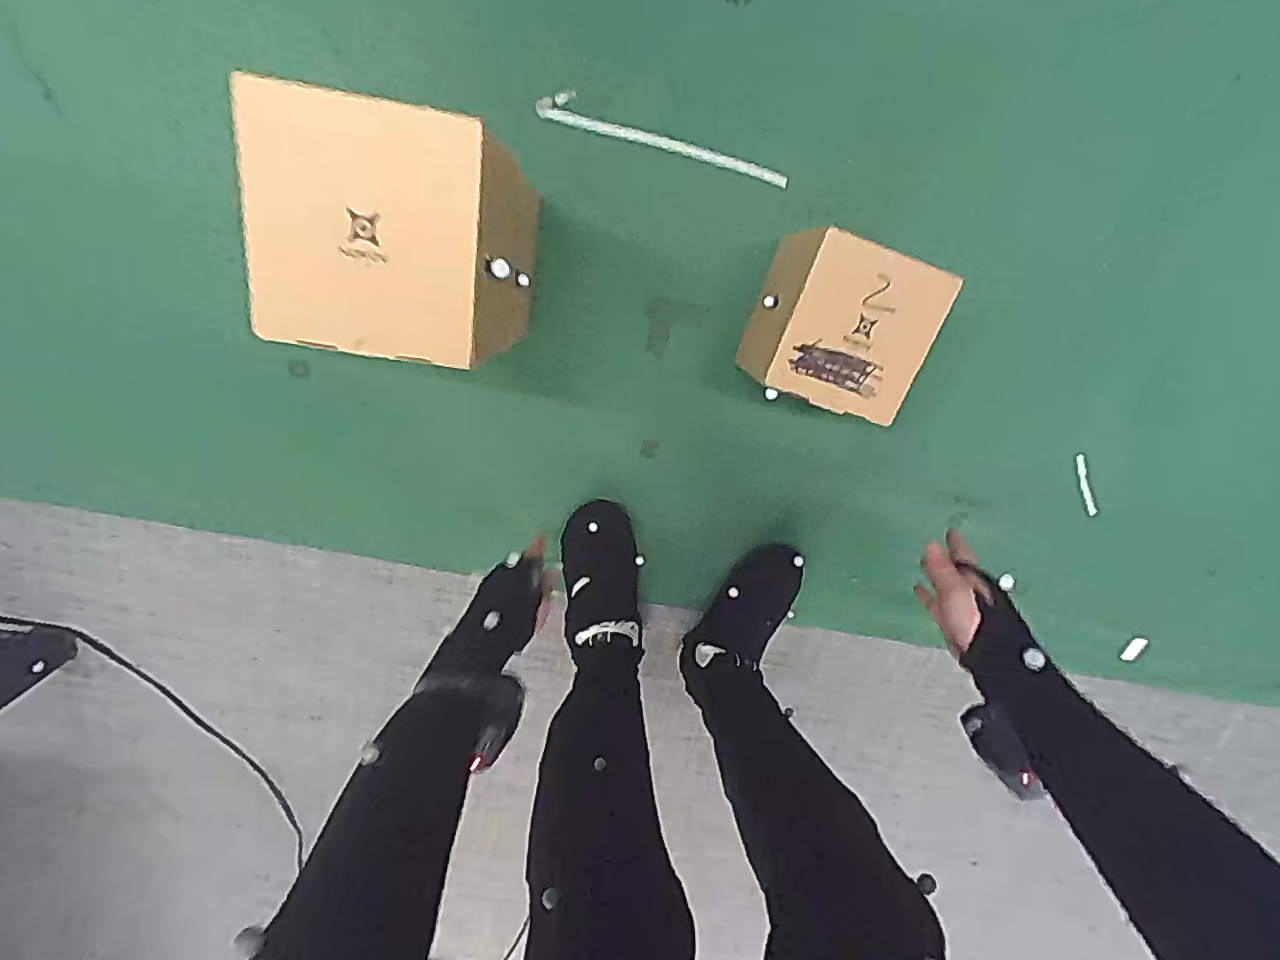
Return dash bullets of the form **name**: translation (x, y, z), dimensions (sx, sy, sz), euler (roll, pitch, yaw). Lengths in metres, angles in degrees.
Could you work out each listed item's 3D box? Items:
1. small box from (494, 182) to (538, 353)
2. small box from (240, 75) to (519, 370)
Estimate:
- **small box**: translation (-0.217, -0.260, 0.626), dimensions (0.168, 0.176, 0.179), euler (9, 110, -6)
- **small box**: translation (-0.205, -0.208, 0.472), dimensions (0.168, 0.176, 0.179), euler (8, 111, -5)
